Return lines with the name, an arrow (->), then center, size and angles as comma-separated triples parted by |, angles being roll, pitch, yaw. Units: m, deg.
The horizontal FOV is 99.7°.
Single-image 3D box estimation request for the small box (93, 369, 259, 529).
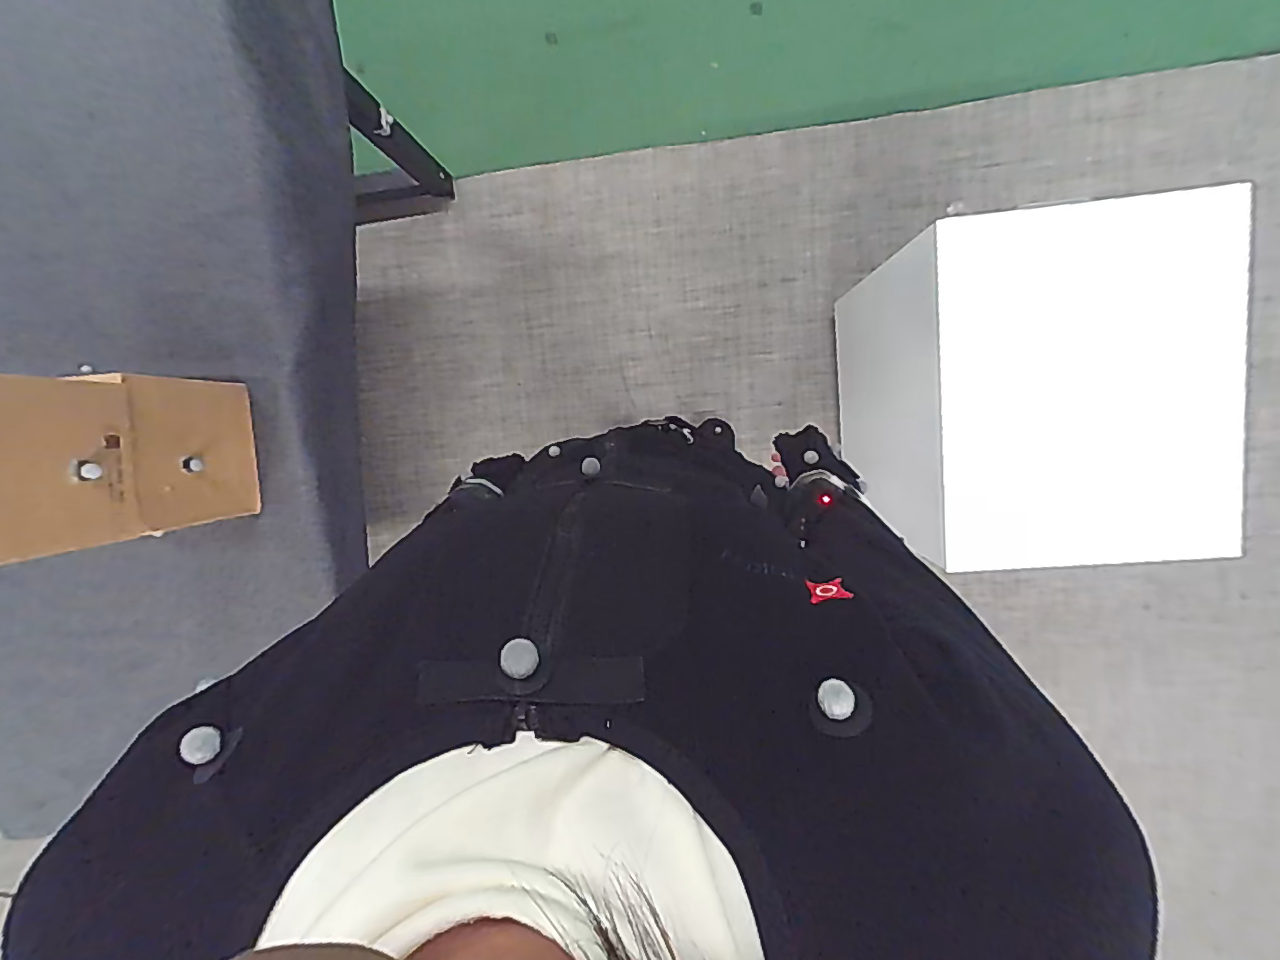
small box -> -0.614, -0.042, 0.671 | 0.168, 0.176, 0.179 | -2, 97, 7
